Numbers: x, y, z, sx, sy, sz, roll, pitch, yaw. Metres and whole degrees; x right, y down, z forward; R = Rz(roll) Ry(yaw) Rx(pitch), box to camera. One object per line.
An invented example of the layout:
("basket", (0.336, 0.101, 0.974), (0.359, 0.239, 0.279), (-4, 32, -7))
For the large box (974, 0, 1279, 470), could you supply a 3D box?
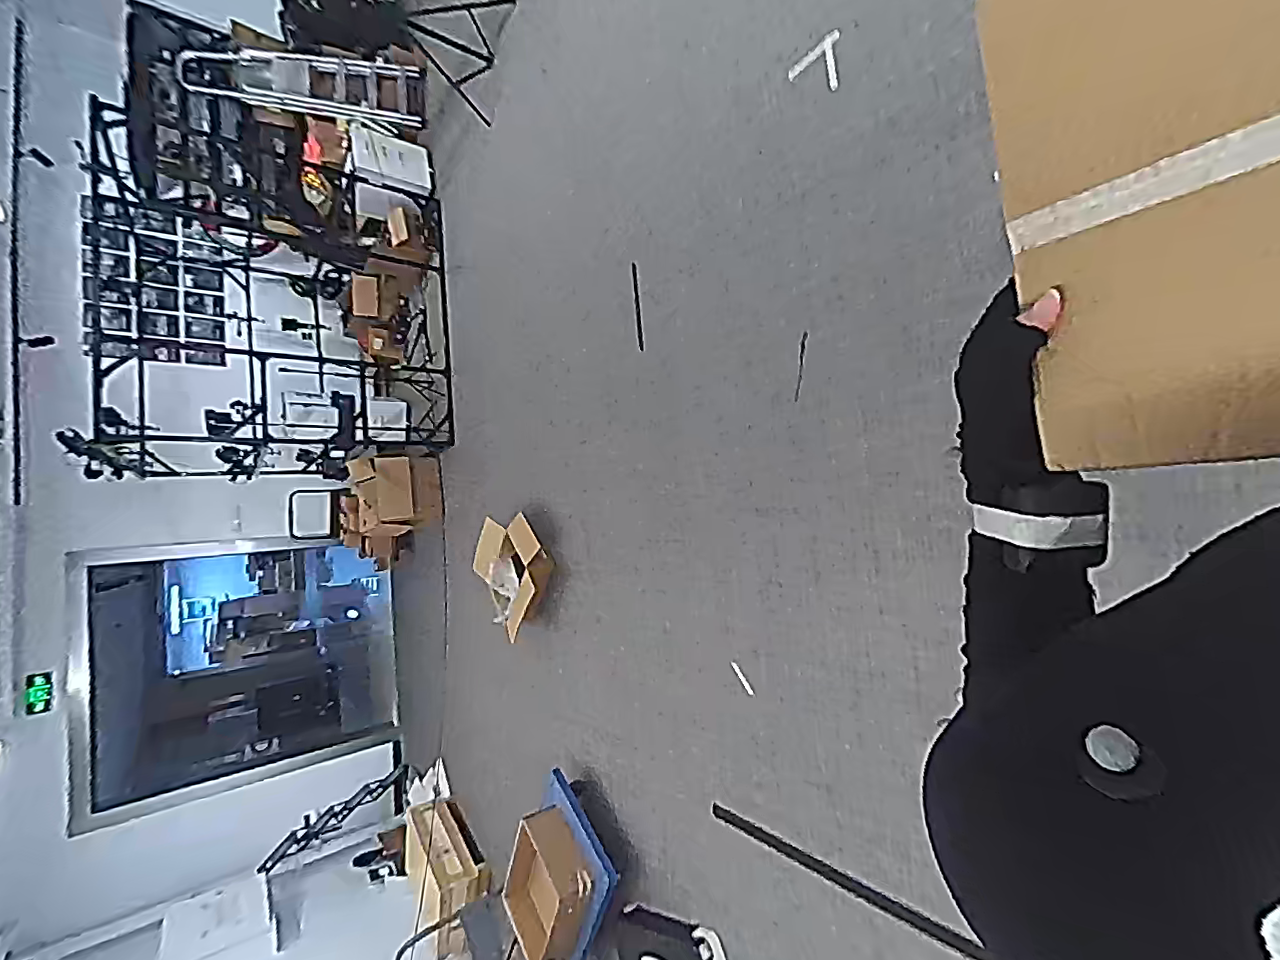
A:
("large box", (0.485, -0.200, 0.293), (0.408, 0.320, 0.320), (-8, 92, 54))
